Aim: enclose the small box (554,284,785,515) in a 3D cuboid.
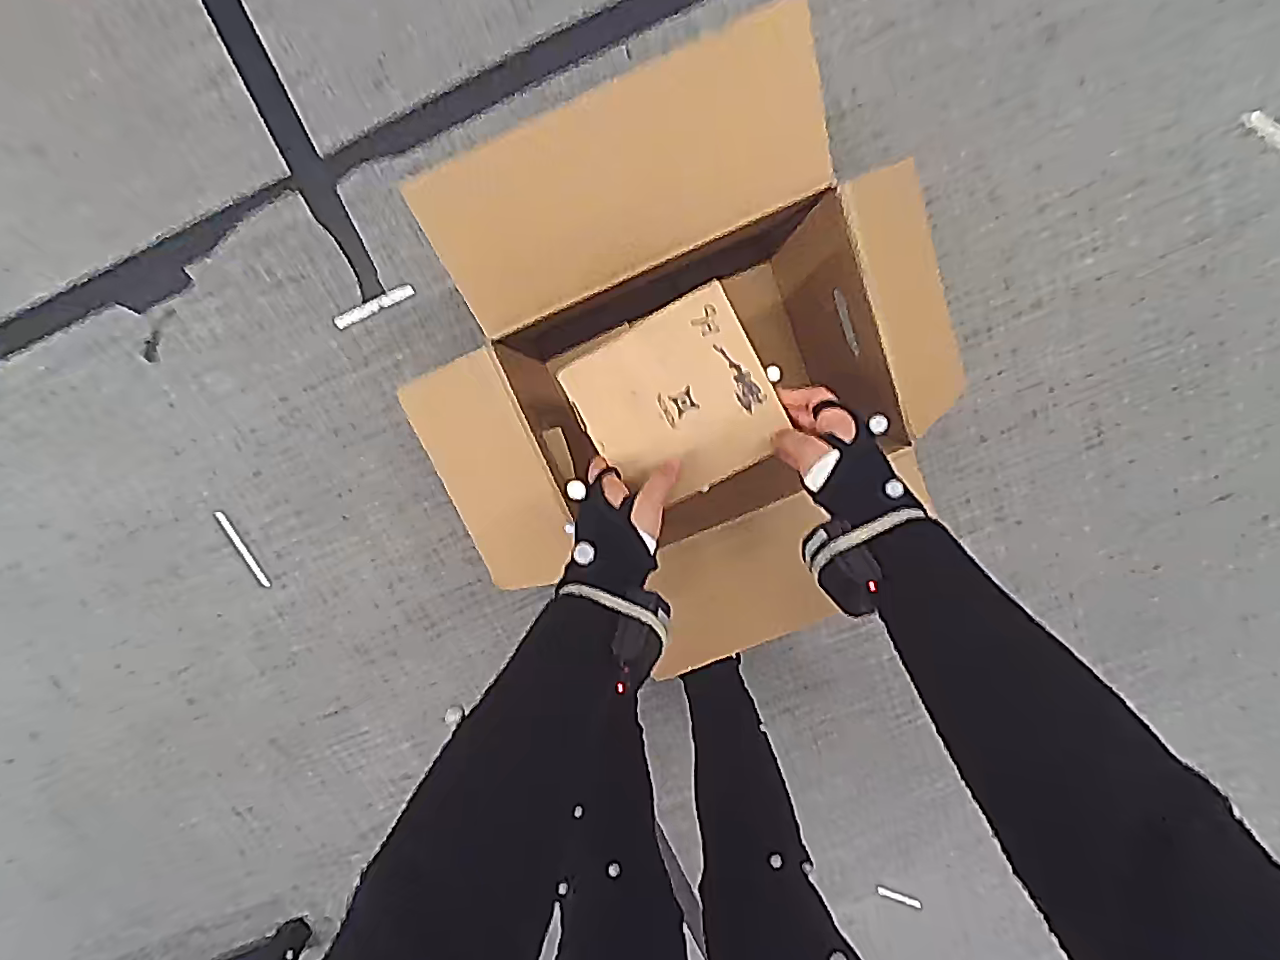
[{"bbox_3d":[0.037,-0.084,0.596,0.179,0.176,0.168,-28,95,10],"label":"small box"}]
